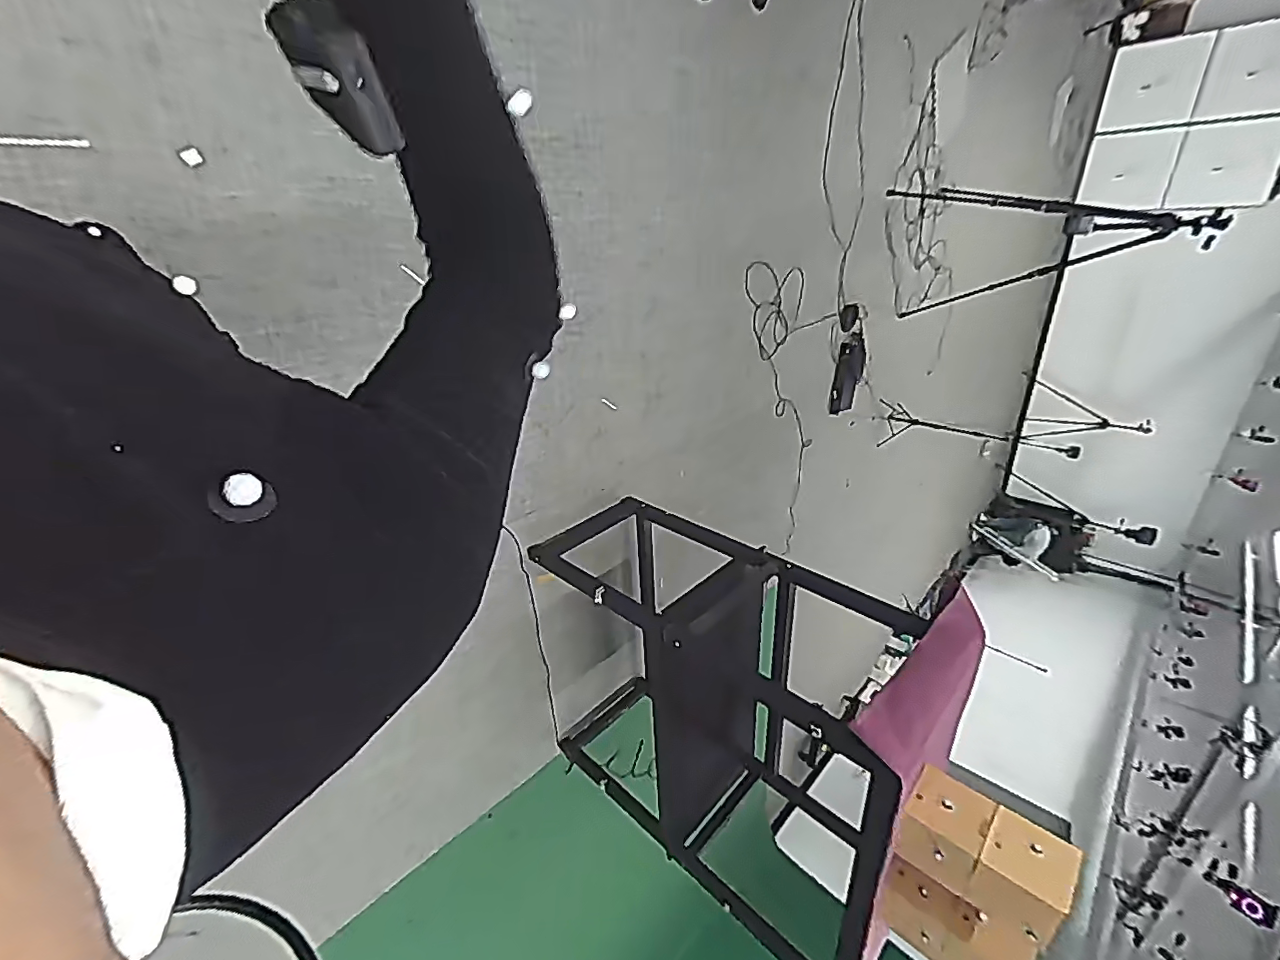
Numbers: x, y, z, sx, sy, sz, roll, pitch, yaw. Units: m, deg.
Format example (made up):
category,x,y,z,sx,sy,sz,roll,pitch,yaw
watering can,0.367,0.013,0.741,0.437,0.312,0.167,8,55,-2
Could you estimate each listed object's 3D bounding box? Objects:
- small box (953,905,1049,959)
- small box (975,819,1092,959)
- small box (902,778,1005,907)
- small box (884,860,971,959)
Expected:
category,x,y,z,sx,sy,sz,roll,pitch,yaw
small box,0.898,1.203,1.357,0.168,0.176,0.179,-27,123,-38
small box,0.883,0.916,1.224,0.168,0.176,0.179,-29,127,-38
small box,0.764,0.876,1.328,0.168,0.176,0.179,-28,124,-38
small box,0.781,1.161,1.464,0.168,0.176,0.179,-27,124,-38
